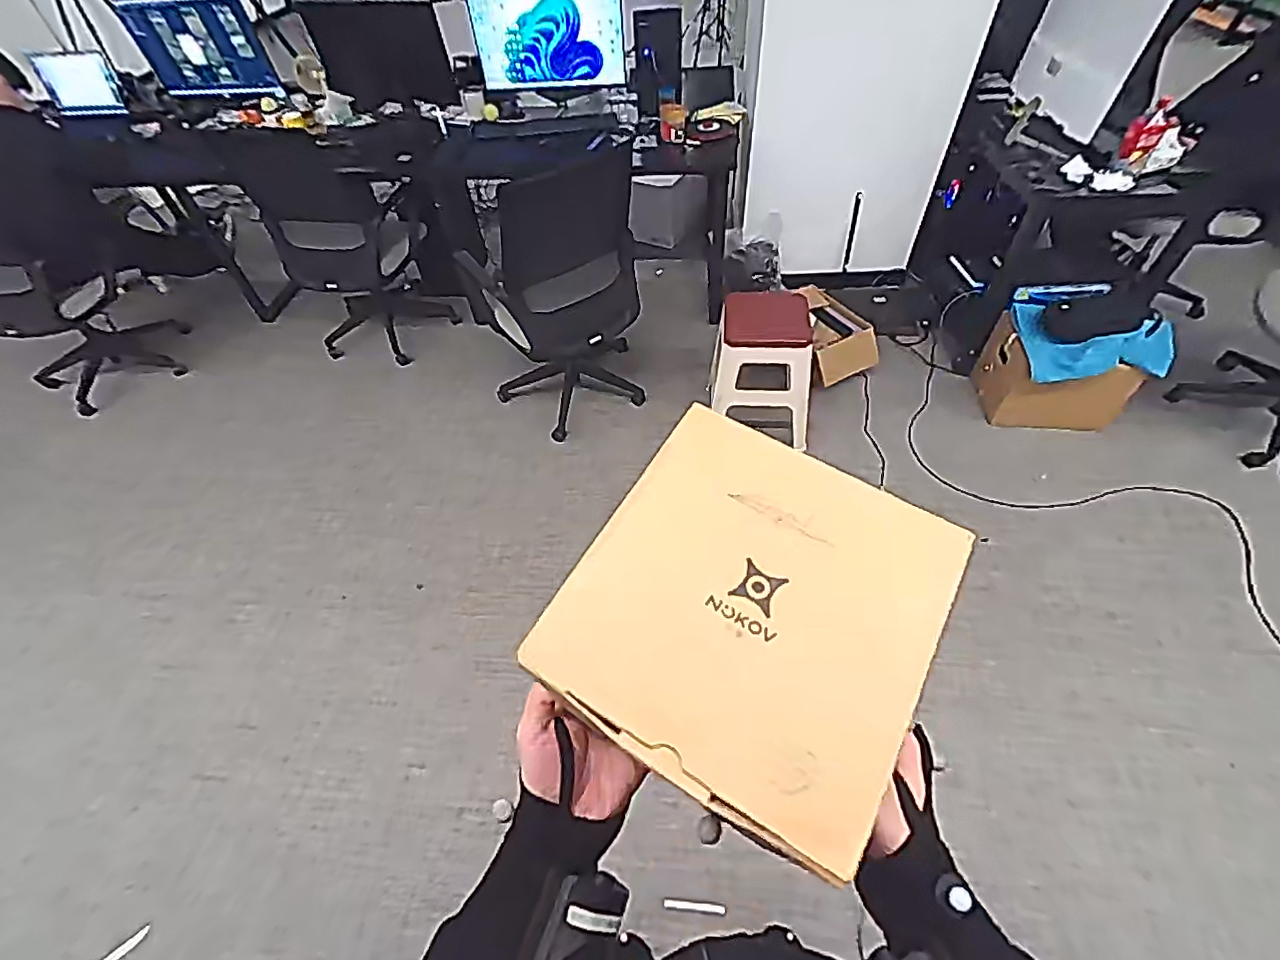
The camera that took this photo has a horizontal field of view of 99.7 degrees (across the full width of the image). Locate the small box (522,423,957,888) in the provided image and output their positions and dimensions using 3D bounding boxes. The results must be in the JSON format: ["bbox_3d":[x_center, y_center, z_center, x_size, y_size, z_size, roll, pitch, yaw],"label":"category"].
[{"bbox_3d":[0.056,0.104,0.342,0.168,0.176,0.179,28,64,14],"label":"small box"}]
